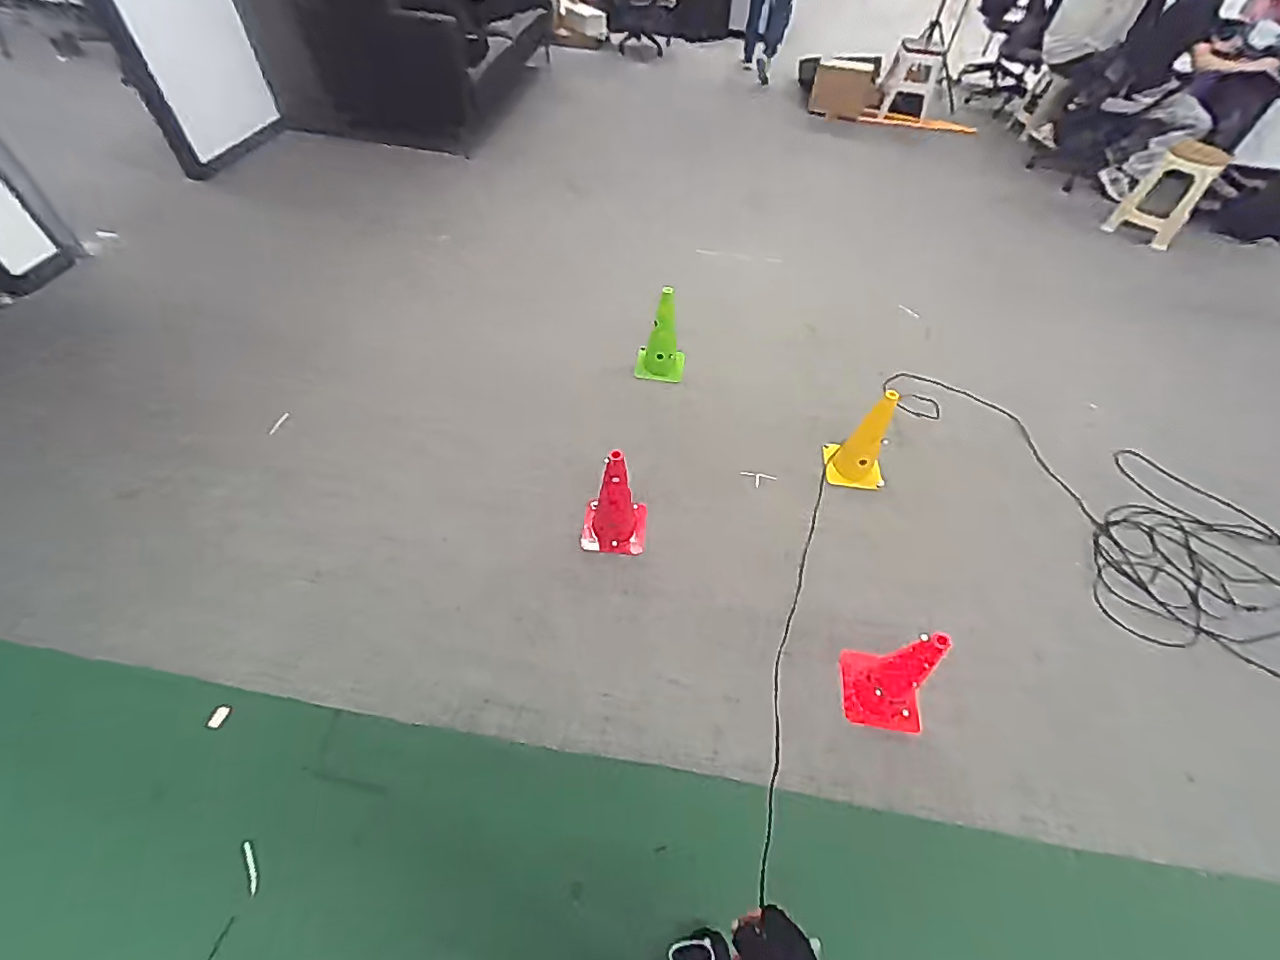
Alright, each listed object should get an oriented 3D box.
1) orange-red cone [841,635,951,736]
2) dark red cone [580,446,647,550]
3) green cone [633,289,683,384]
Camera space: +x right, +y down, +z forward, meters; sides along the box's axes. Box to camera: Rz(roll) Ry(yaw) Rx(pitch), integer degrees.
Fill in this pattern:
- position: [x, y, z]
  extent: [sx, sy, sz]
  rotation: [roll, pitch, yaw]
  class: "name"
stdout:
- position: [0.661, 0.470, 1.339]
  extent: [0.198, 0.360, 0.199]
  rotation: [10, 50, 3]
  class: "orange-red cone"
- position: [-0.073, 0.036, 1.608]
  extent: [0.202, 0.394, 0.201]
  rotation: [5, 52, 0]
  class: "dark red cone"
- position: [0.090, -0.590, 2.155]
  extent: [0.202, 0.368, 0.200]
  rotation: [9, 52, 1]
  class: "green cone"
